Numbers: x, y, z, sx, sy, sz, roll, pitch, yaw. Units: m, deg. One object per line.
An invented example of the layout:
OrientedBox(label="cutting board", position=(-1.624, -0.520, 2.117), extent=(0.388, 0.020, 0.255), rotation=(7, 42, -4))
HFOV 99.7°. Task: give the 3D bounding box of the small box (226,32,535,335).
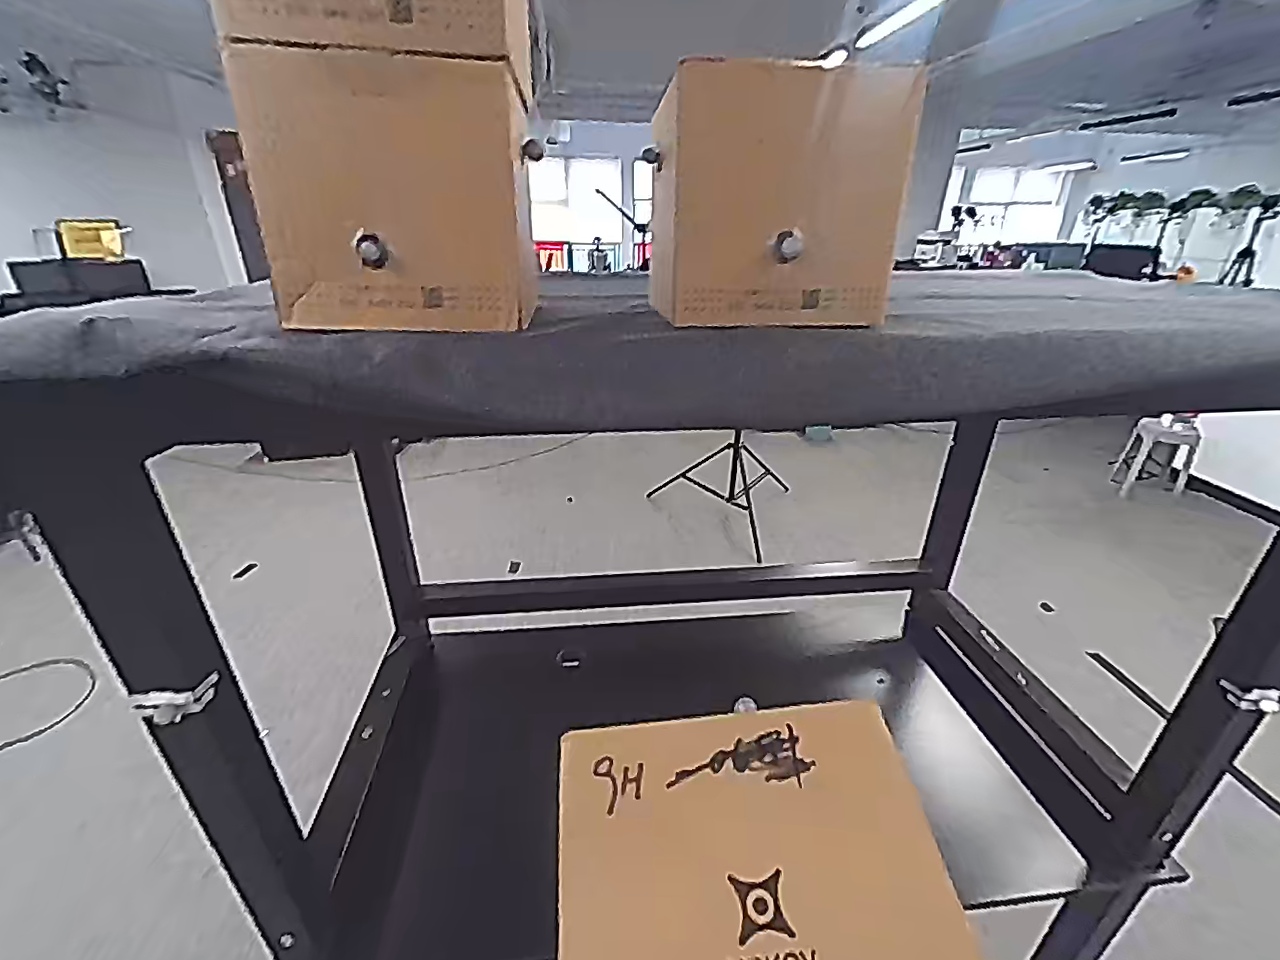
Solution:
OrientedBox(label="small box", position=(-0.173, -0.215, 0.428), extent=(0.168, 0.176, 0.179), rotation=(-2, 24, -7))

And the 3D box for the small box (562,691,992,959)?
OrientedBox(label="small box", position=(0.053, 0.230, 0.272), extent=(0.168, 0.176, 0.179), rotation=(-4, 47, -3))

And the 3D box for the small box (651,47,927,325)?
OrientedBox(label="small box", position=(0.099, -0.228, 0.454), extent=(0.168, 0.176, 0.179), rotation=(-2, 24, -5))
